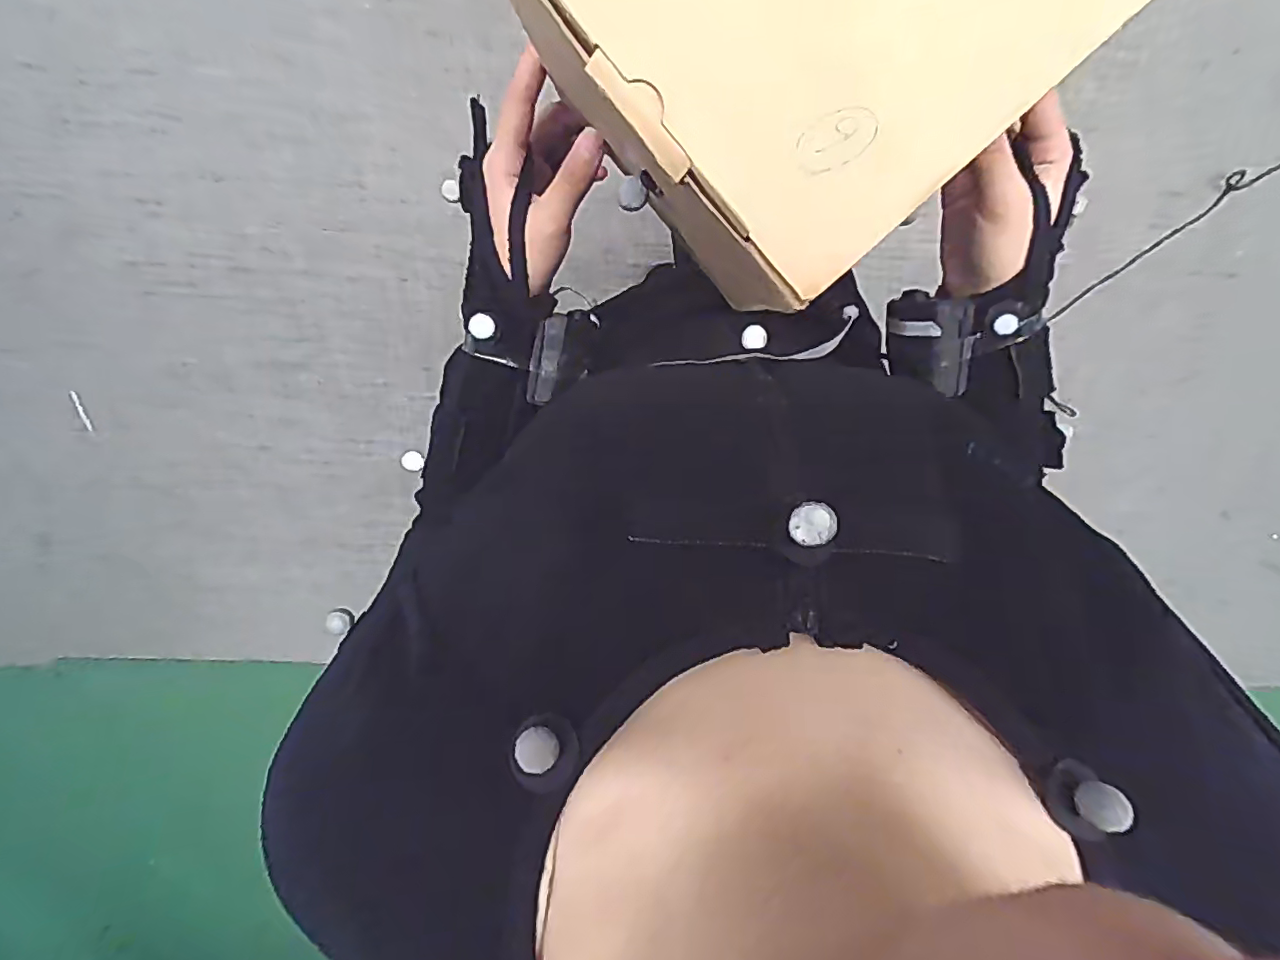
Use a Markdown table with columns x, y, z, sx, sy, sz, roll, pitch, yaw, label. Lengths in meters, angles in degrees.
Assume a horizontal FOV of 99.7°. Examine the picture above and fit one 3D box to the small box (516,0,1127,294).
| x | y | z | sx | sy | sz | roll | pitch | yaw | label |
| --- | --- | --- | --- | --- | --- | --- | --- | --- | --- |
| 0.065 | -0.197 | 0.227 | 0.179 | 0.176 | 0.168 | -41 | 101 | 14 | small box |
